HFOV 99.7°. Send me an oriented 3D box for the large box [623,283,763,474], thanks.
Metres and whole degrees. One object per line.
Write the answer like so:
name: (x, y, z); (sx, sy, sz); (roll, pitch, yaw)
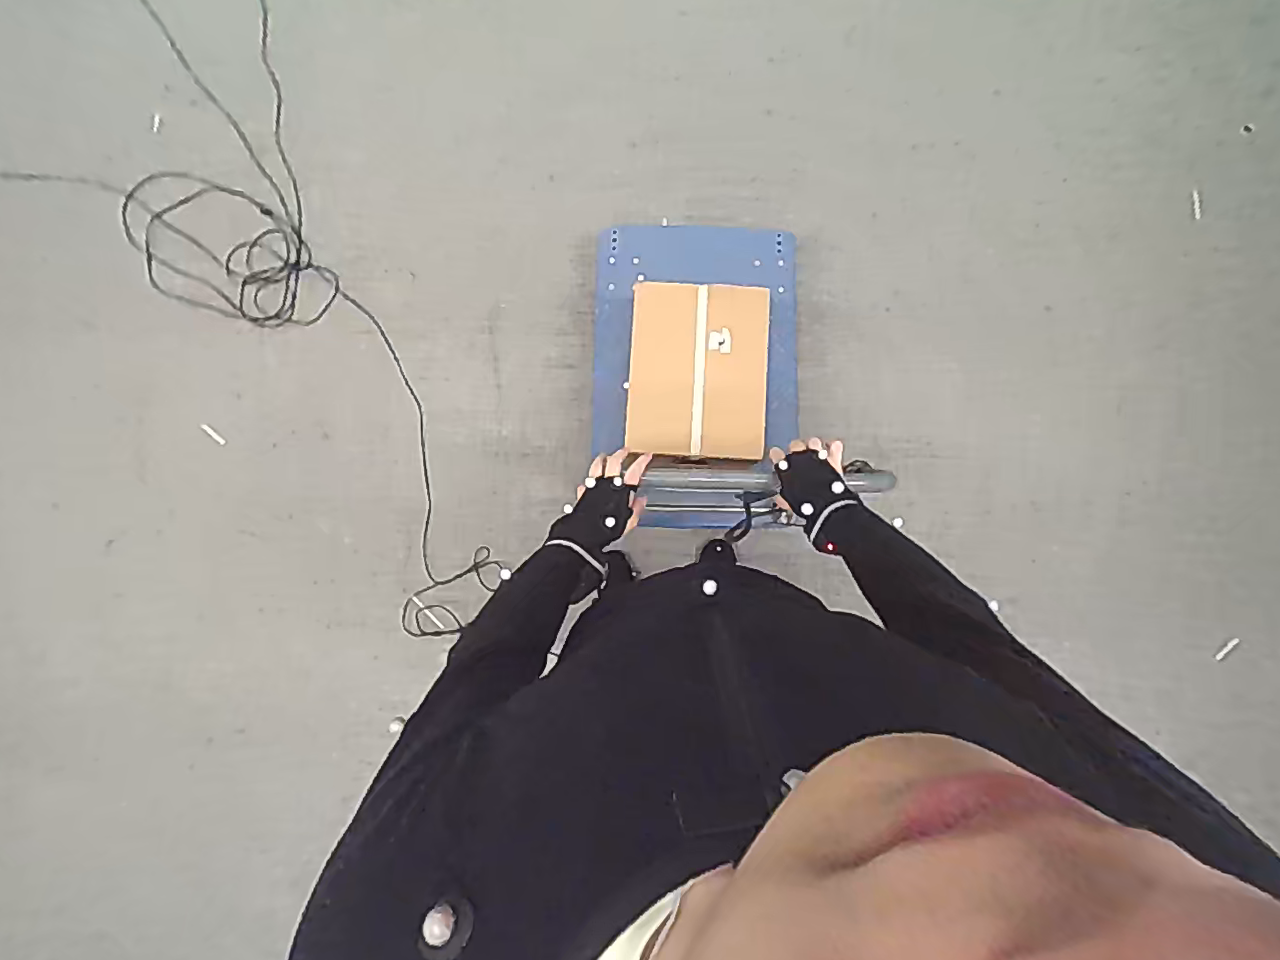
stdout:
large box: (0.126, -0.235, 1.376); (0.320, 0.320, 0.408); (3, 83, 0)
